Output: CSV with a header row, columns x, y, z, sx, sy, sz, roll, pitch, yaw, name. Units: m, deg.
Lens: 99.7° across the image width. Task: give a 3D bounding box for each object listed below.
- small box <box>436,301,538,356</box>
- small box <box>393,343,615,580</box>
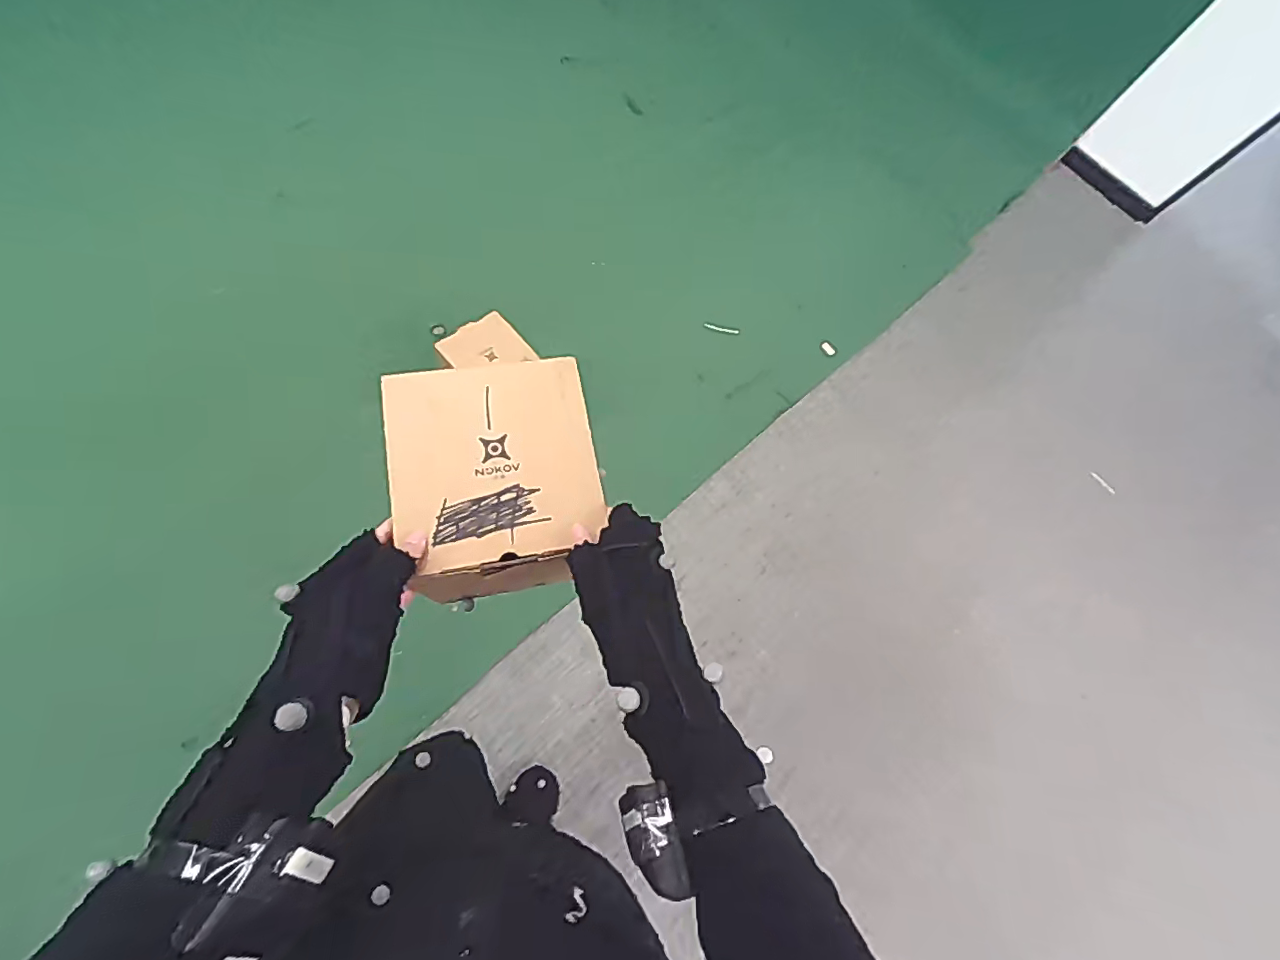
x,y,z,sx,sy,sz,roll,pitch,yaw,name
-0.342,-0.267,1.249,0.168,0.176,0.179,-39,80,-22,small box
-0.124,-0.006,0.519,0.168,0.176,0.179,-8,73,-12,small box
